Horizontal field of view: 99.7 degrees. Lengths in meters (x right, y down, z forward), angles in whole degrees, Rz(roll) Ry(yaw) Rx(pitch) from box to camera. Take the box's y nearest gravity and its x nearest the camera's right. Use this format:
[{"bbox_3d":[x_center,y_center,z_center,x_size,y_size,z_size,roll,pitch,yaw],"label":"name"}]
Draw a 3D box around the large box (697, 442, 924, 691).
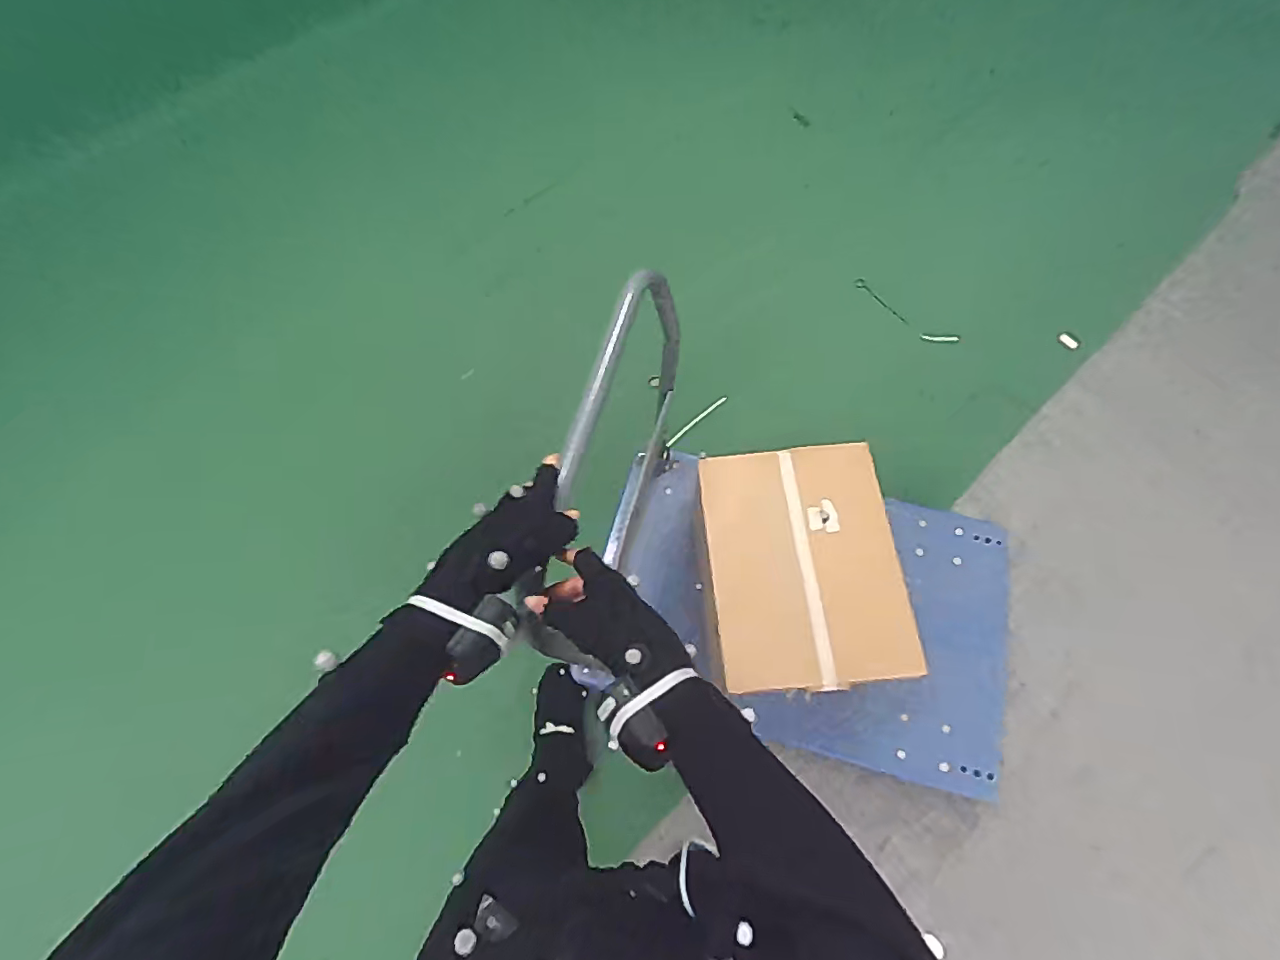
[{"bbox_3d":[0.287,0.182,1.053,0.320,0.320,0.408,-4,67,1],"label":"large box"}]
